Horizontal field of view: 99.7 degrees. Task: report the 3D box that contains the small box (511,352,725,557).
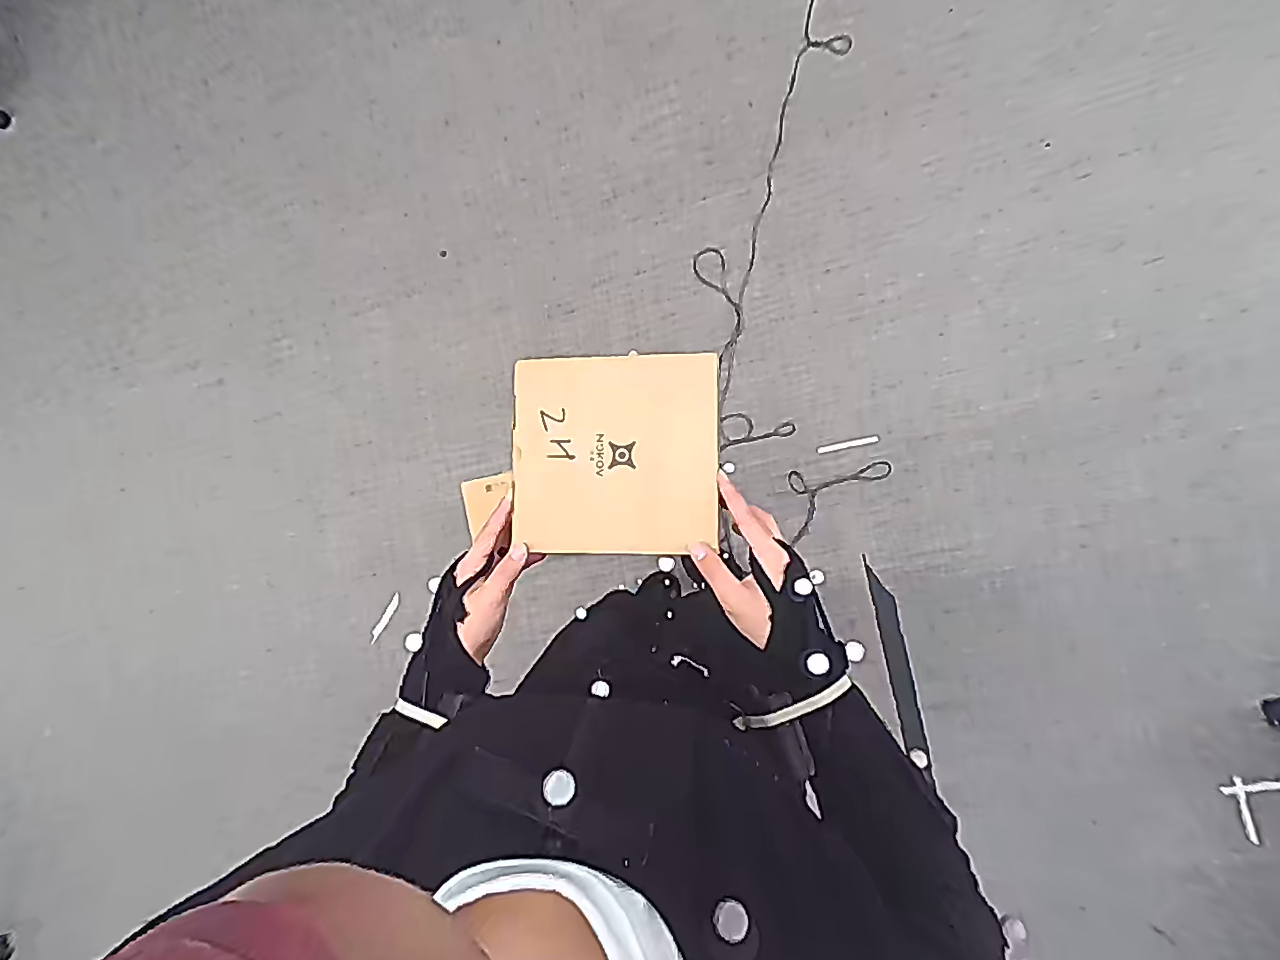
[{"bbox_3d":[-0.009,-0.018,0.516,0.179,0.176,0.168,0,87,9],"label":"small box"}]
